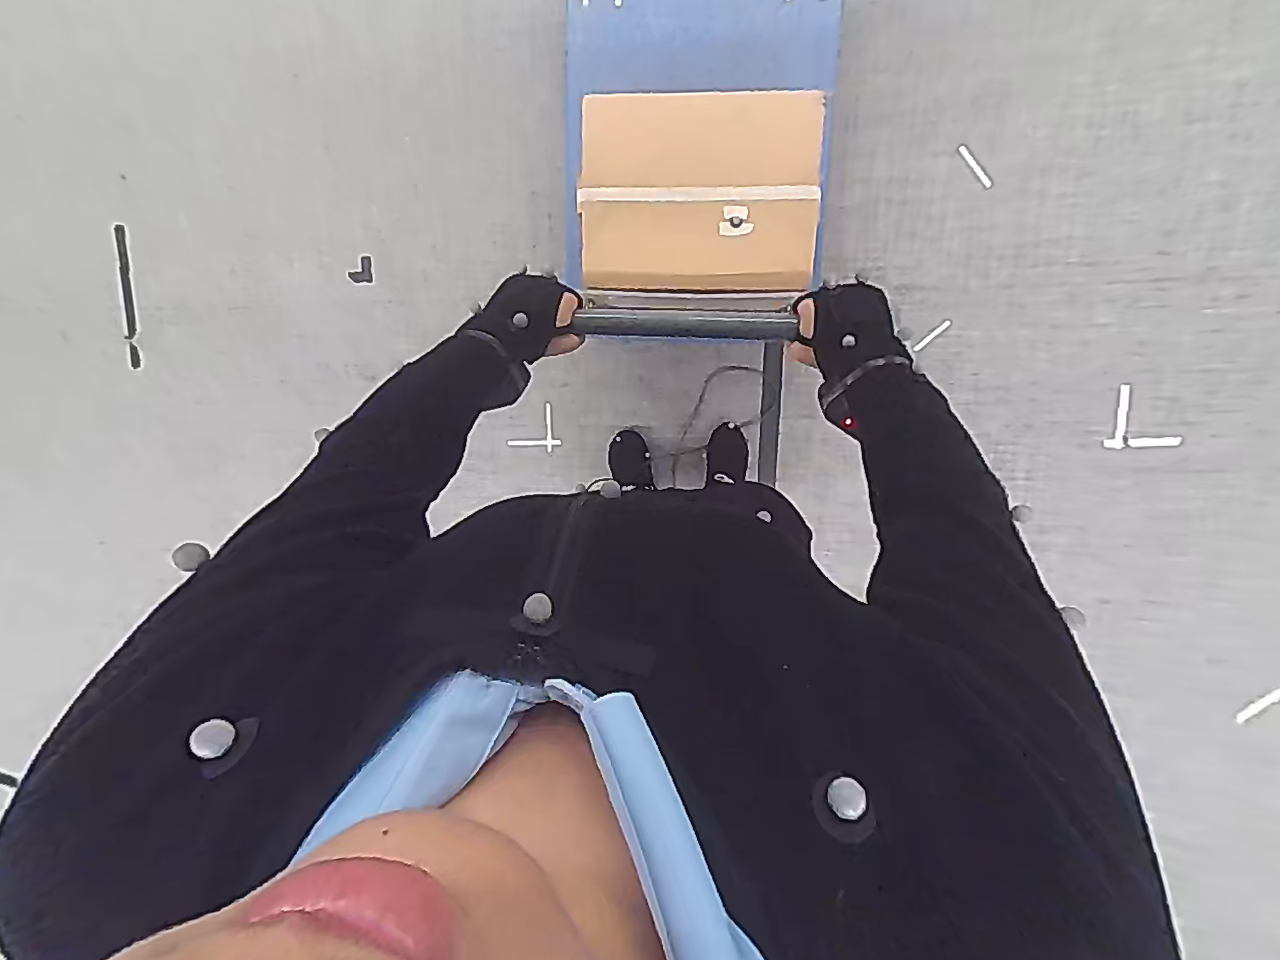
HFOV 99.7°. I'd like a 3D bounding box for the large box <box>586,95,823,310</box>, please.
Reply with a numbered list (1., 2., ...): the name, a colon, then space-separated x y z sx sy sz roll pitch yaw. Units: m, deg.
1. large box: 0.115 -0.521 1.084 0.408 0.320 0.320 2 102 4
